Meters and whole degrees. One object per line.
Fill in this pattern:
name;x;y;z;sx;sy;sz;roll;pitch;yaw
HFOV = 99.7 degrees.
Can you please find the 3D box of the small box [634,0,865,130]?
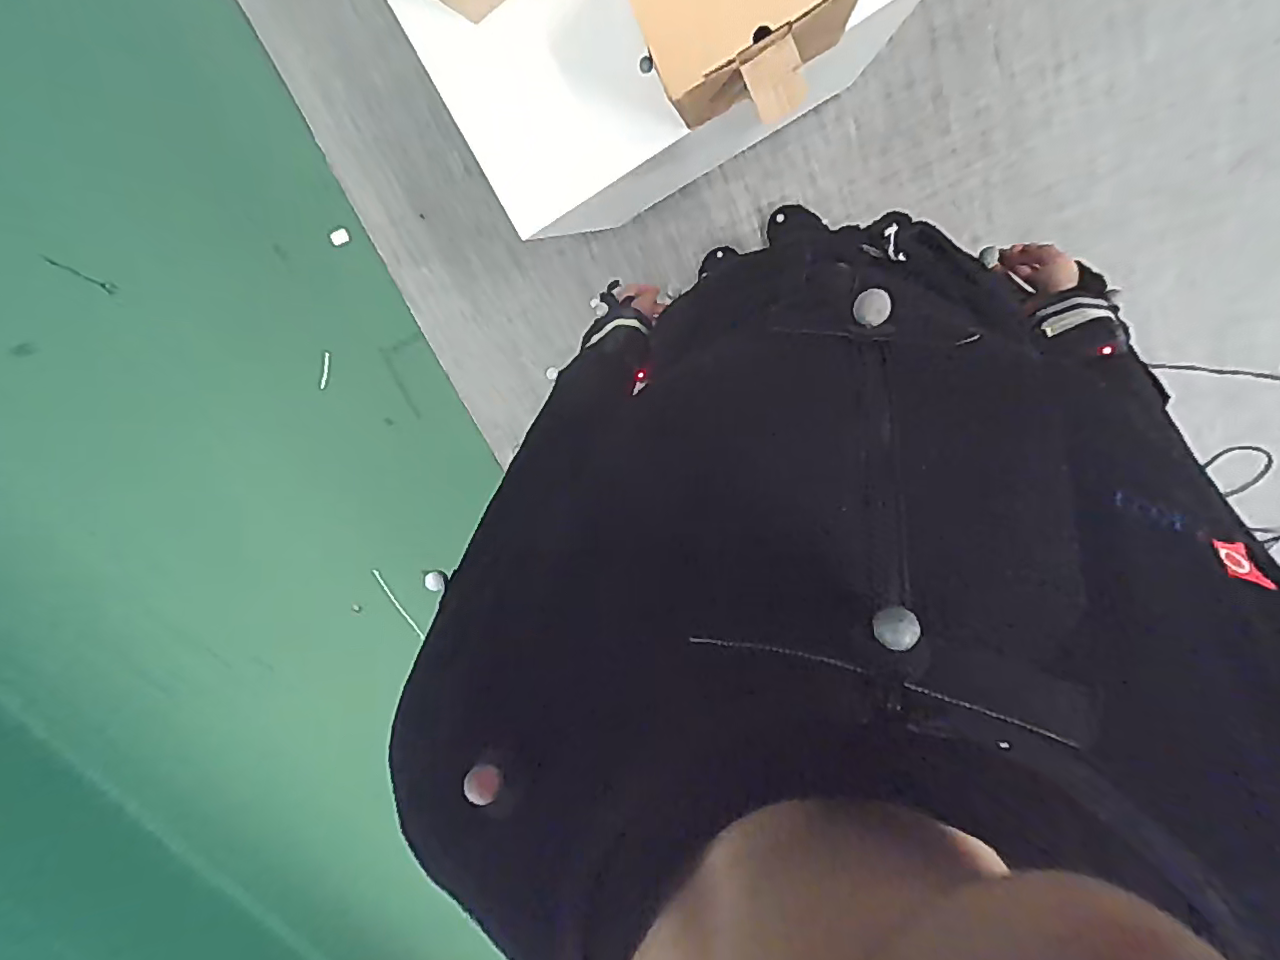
small box;0.077;-0.443;0.469;0.168;0.176;0.179;-21;110;20
